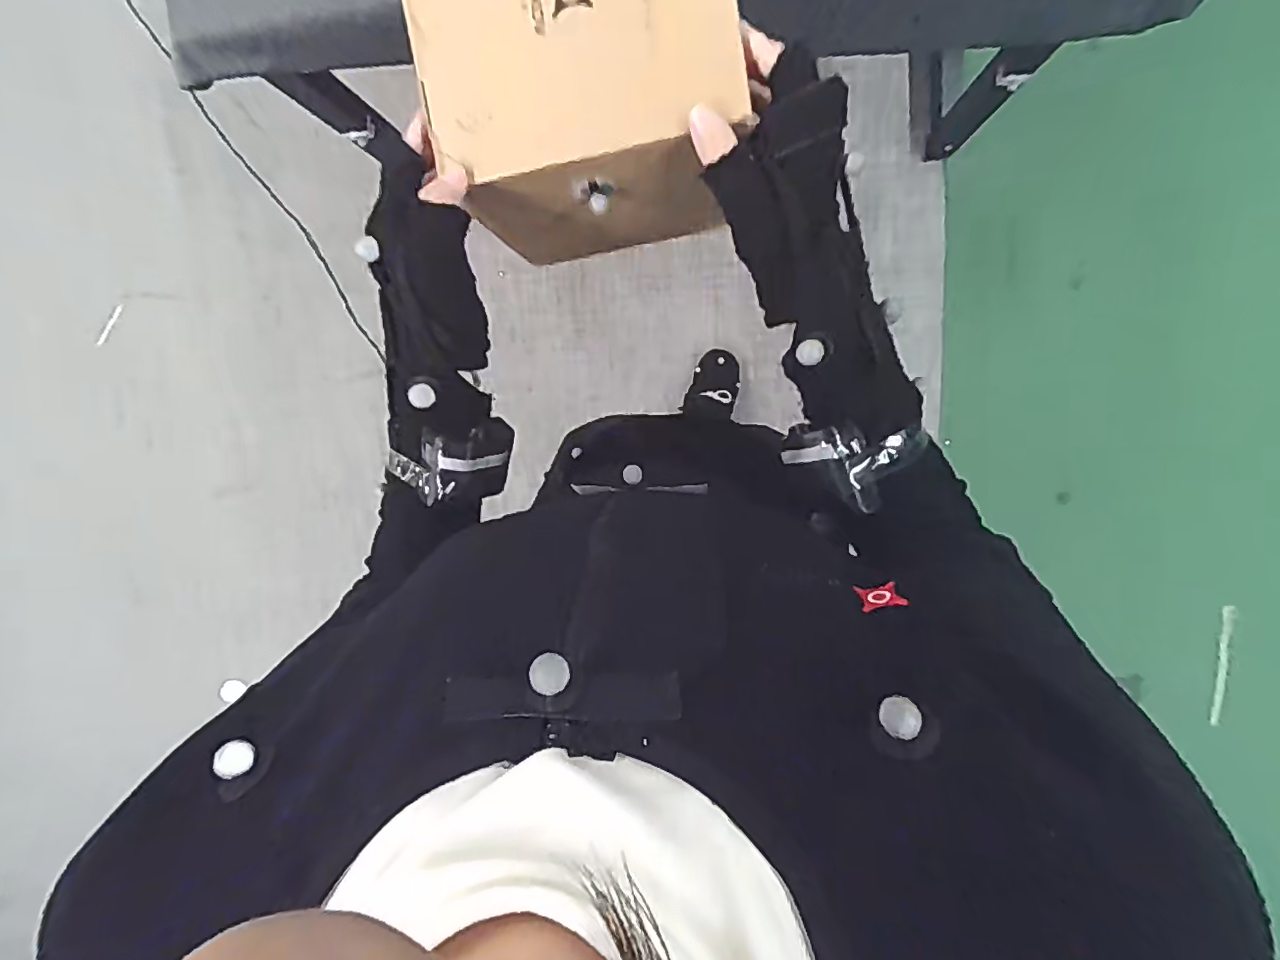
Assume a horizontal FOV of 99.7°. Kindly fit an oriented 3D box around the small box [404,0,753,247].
[{"bbox_3d":[-0.029,-0.269,0.352,0.179,0.176,0.168,-9,98,8],"label":"small box"}]
